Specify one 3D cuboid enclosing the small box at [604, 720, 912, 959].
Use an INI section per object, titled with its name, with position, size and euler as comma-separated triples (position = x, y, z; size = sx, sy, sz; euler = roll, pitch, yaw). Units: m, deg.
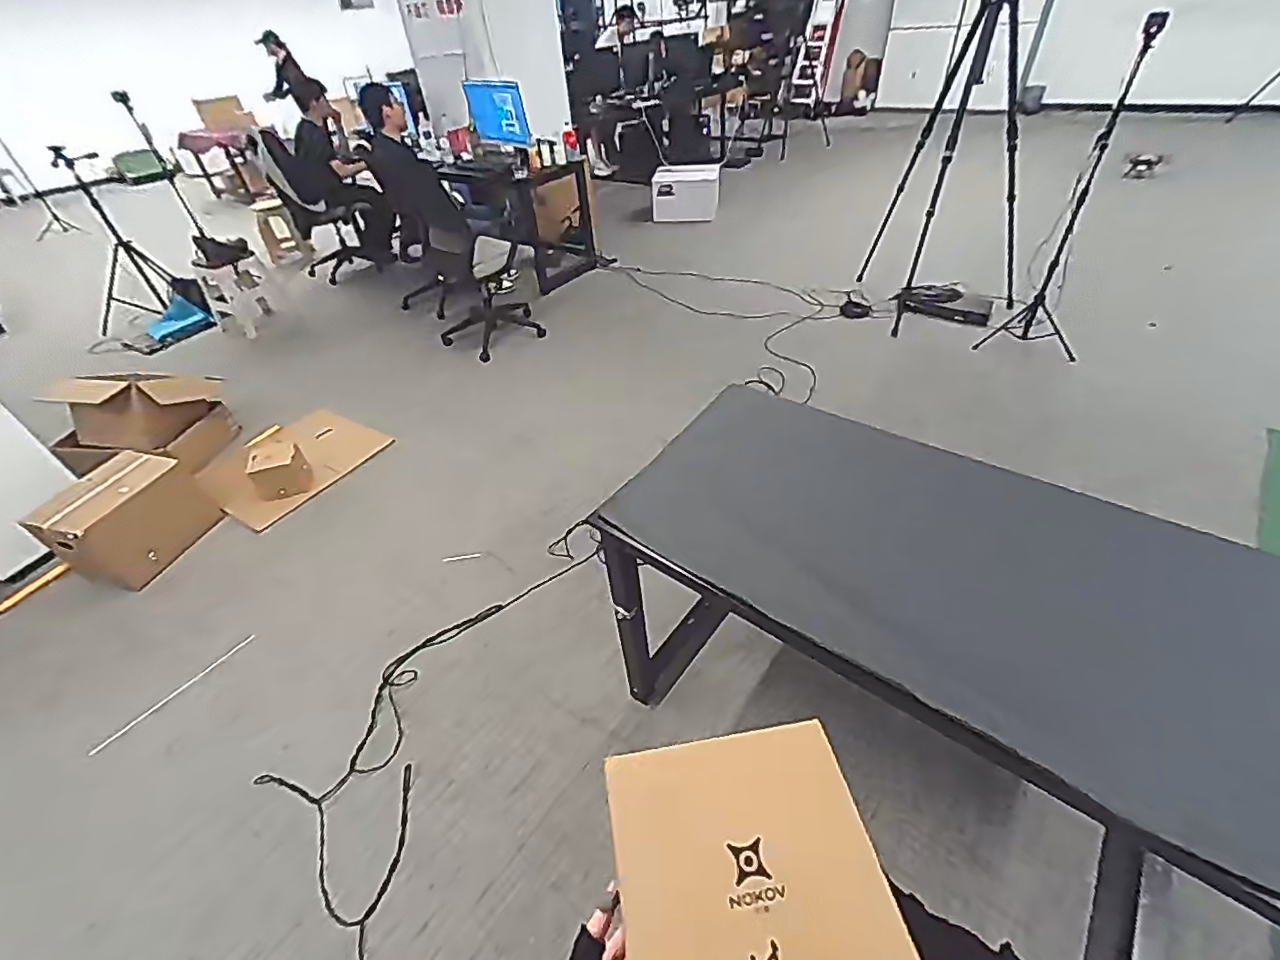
[small box]
position = 0.067, 0.307, 0.391
size = 0.168, 0.176, 0.179
euler = -8, 43, -7
